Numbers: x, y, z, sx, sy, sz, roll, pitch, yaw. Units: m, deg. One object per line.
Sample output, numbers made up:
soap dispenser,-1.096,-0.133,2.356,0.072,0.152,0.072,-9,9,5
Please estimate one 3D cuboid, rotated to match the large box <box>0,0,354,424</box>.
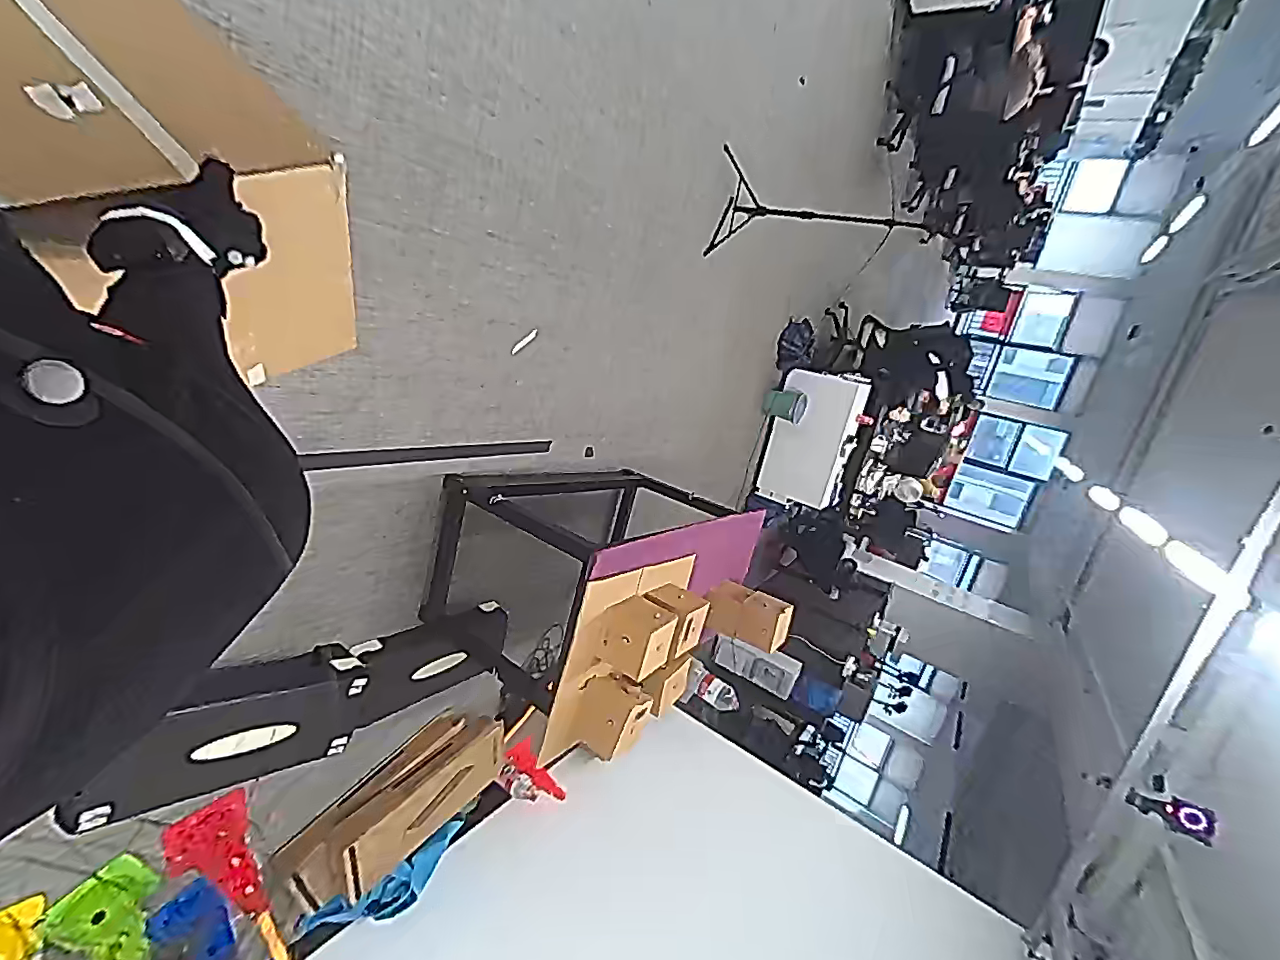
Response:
large box,-0.640,-0.354,0.698,0.320,0.408,0.320,-40,171,-36
